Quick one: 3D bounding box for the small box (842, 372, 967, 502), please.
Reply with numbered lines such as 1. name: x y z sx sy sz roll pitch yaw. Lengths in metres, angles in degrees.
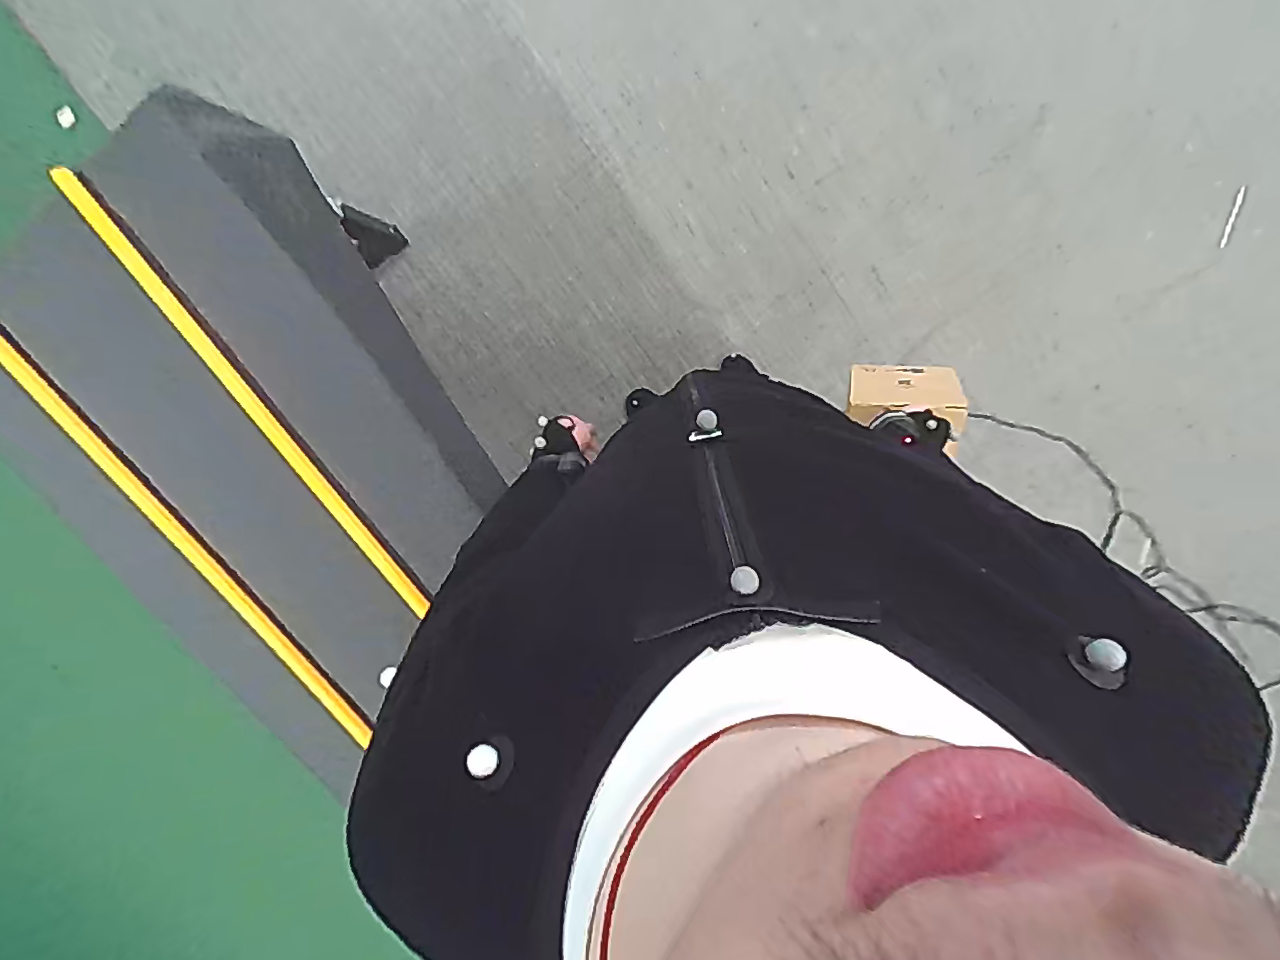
1. small box: 0.442 -0.076 0.928 0.168 0.179 0.176 4 122 18
